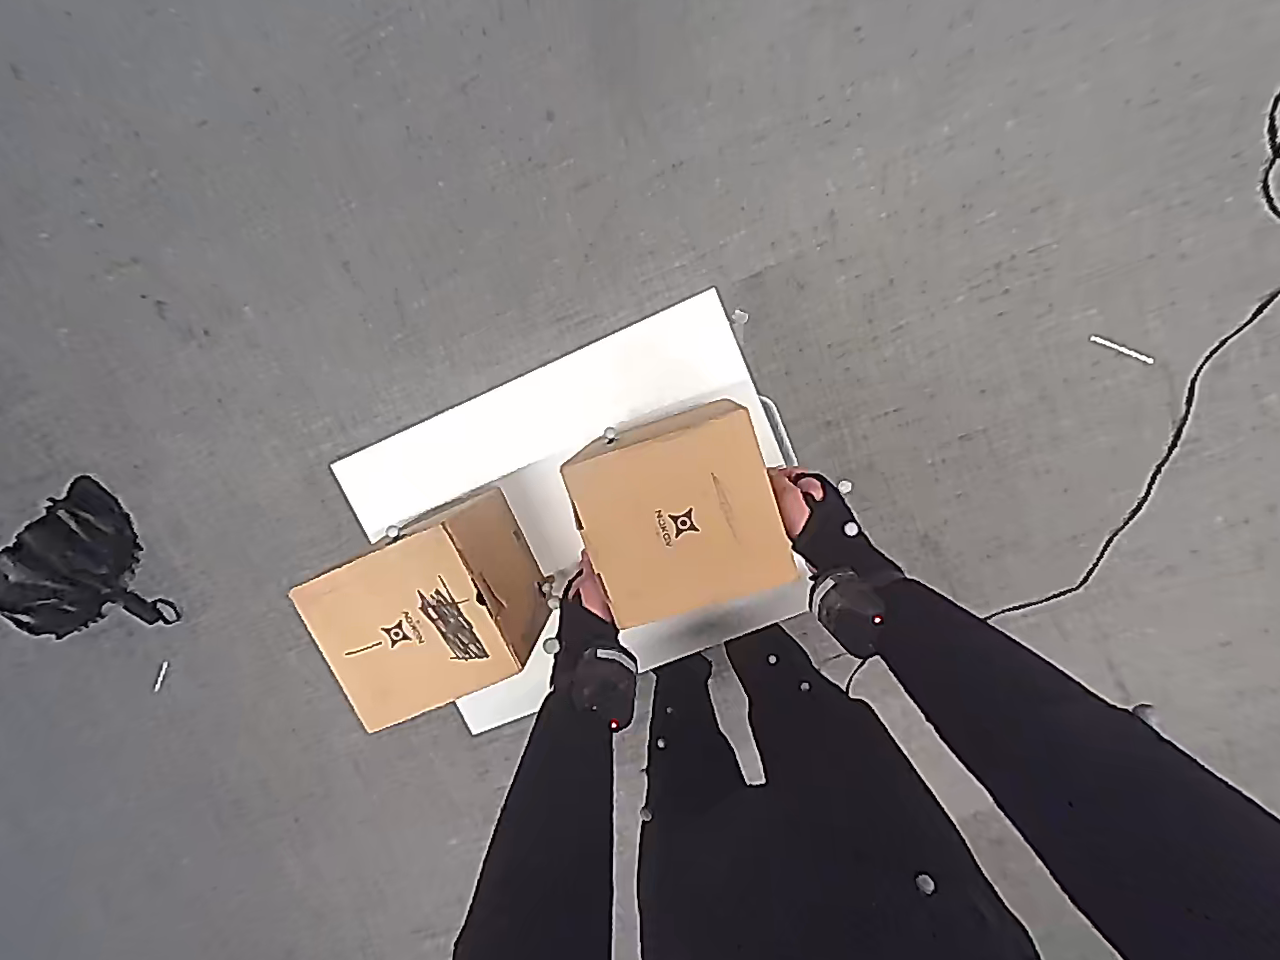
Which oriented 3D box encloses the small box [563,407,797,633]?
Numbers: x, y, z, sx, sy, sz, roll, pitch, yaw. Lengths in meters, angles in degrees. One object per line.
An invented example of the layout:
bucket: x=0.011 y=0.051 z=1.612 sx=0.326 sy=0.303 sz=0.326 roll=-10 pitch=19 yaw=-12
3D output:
small box: x=0.043 y=0.030 z=0.560 sx=0.179 sy=0.176 sz=0.168 roll=-18 pitch=99 yaw=7
